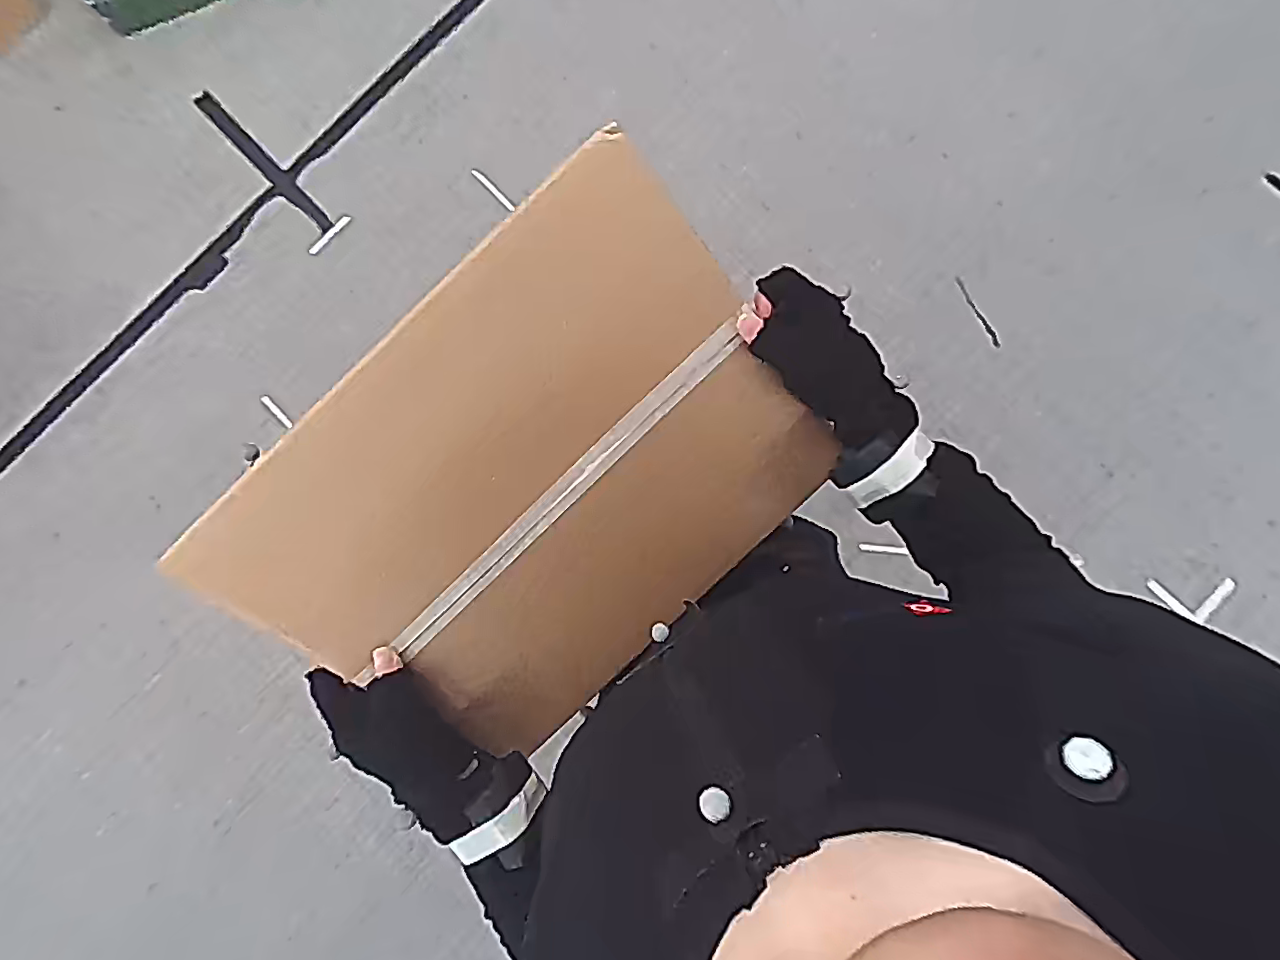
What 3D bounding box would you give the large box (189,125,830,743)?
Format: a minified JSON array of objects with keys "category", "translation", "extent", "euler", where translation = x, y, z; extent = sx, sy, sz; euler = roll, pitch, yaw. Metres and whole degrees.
[{"category":"large box","translation":[-0.109,-0.042,0.552],"extent":[0.408,0.320,0.320],"euler":[-43,116,2]}]
